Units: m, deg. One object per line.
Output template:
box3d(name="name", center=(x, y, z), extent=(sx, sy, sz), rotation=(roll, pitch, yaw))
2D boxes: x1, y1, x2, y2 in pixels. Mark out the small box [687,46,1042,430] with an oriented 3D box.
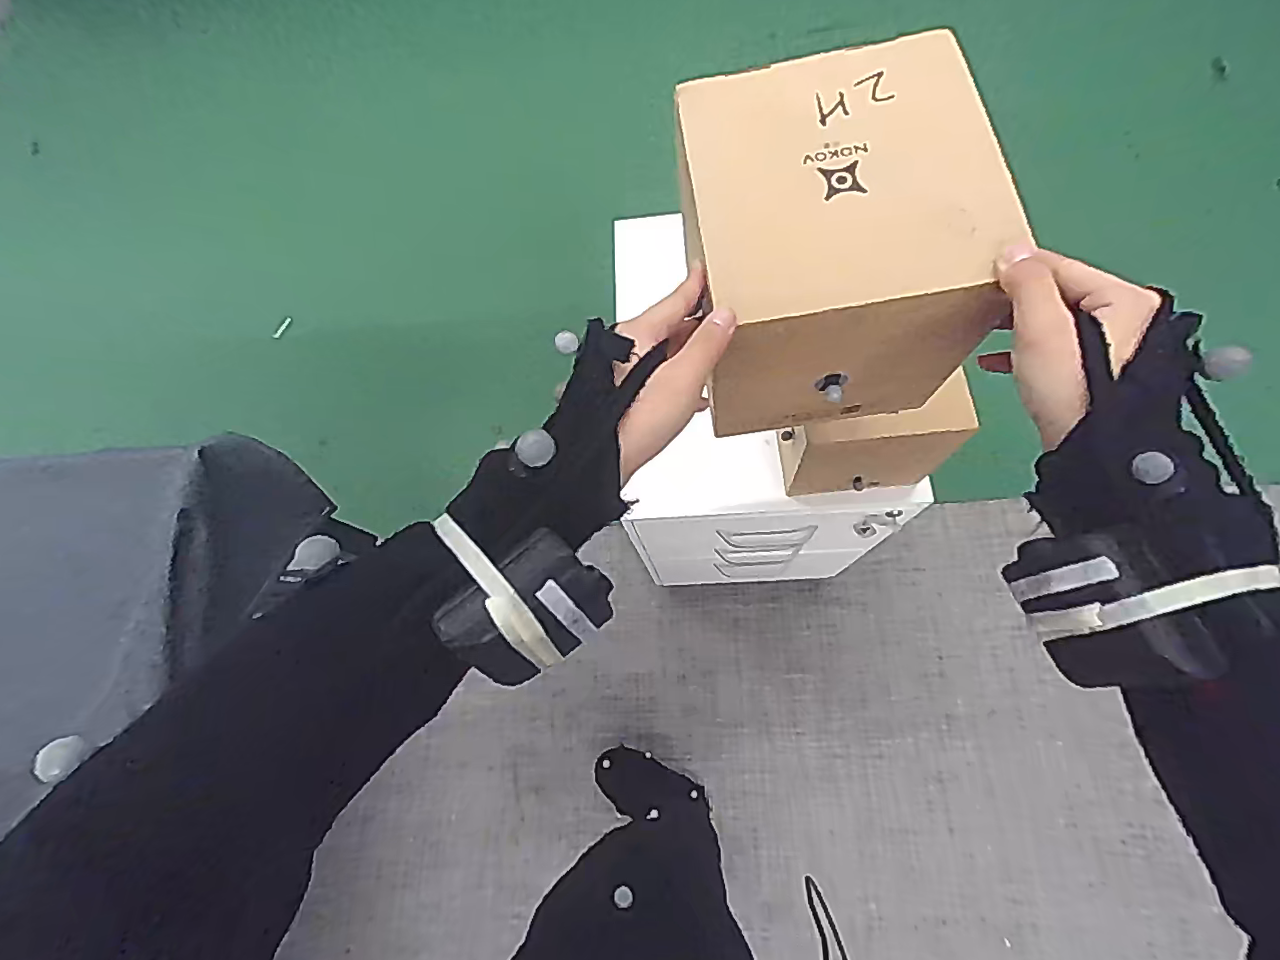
box3d(name="small box", center=(0.128, -0.145, 0.382), extent=(0.168, 0.176, 0.179), rotation=(-8, 72, 5))
